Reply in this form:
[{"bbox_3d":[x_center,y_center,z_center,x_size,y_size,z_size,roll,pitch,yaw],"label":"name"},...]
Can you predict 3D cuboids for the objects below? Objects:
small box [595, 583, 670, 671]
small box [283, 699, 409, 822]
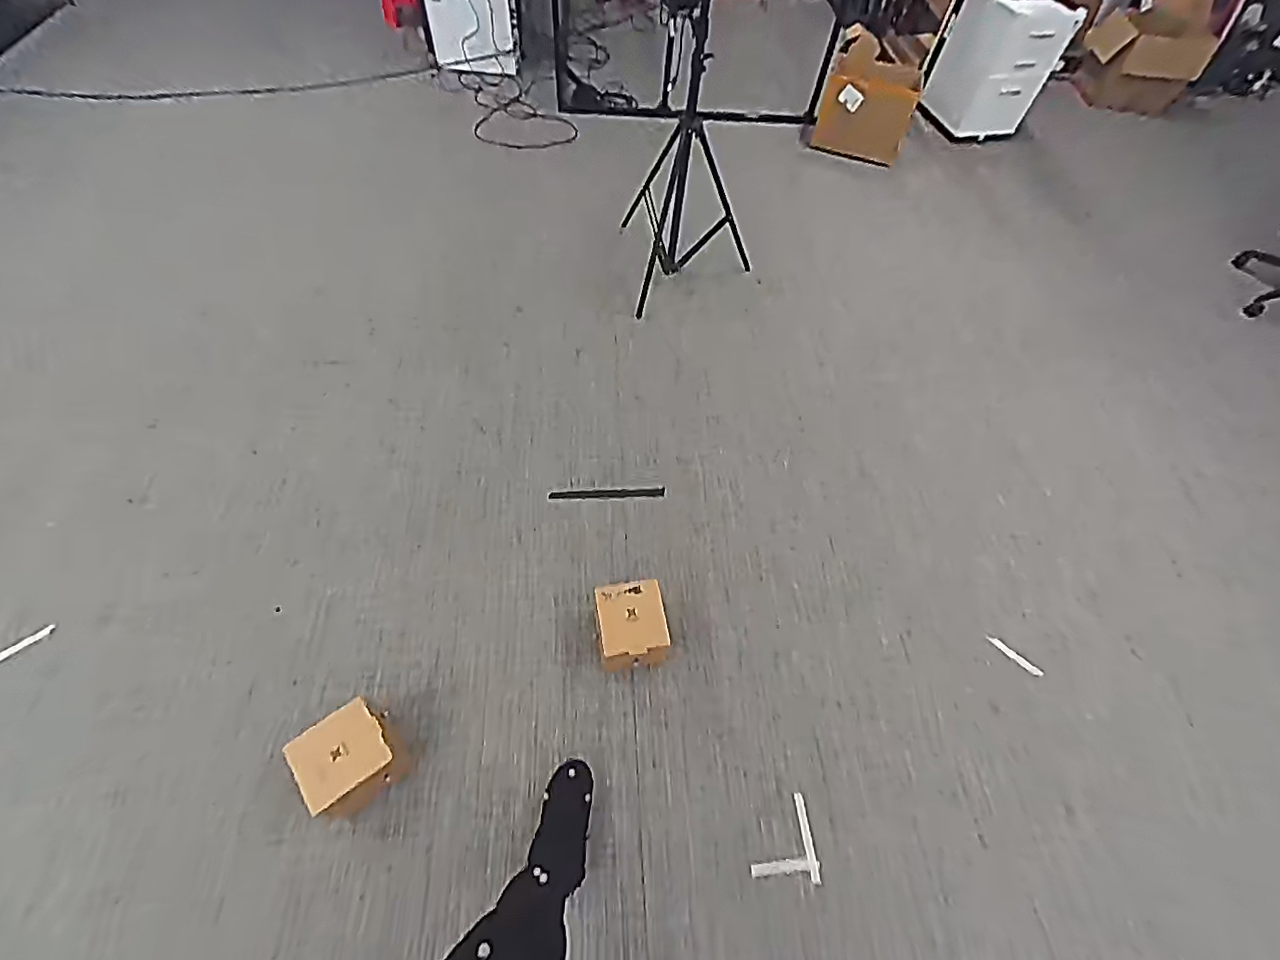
[{"bbox_3d":[-0.024,0.386,1.399,0.168,0.176,0.179,-6,59,-9],"label":"small box"},{"bbox_3d":[-0.637,0.623,1.200,0.179,0.176,0.168,-34,65,-22],"label":"small box"}]
